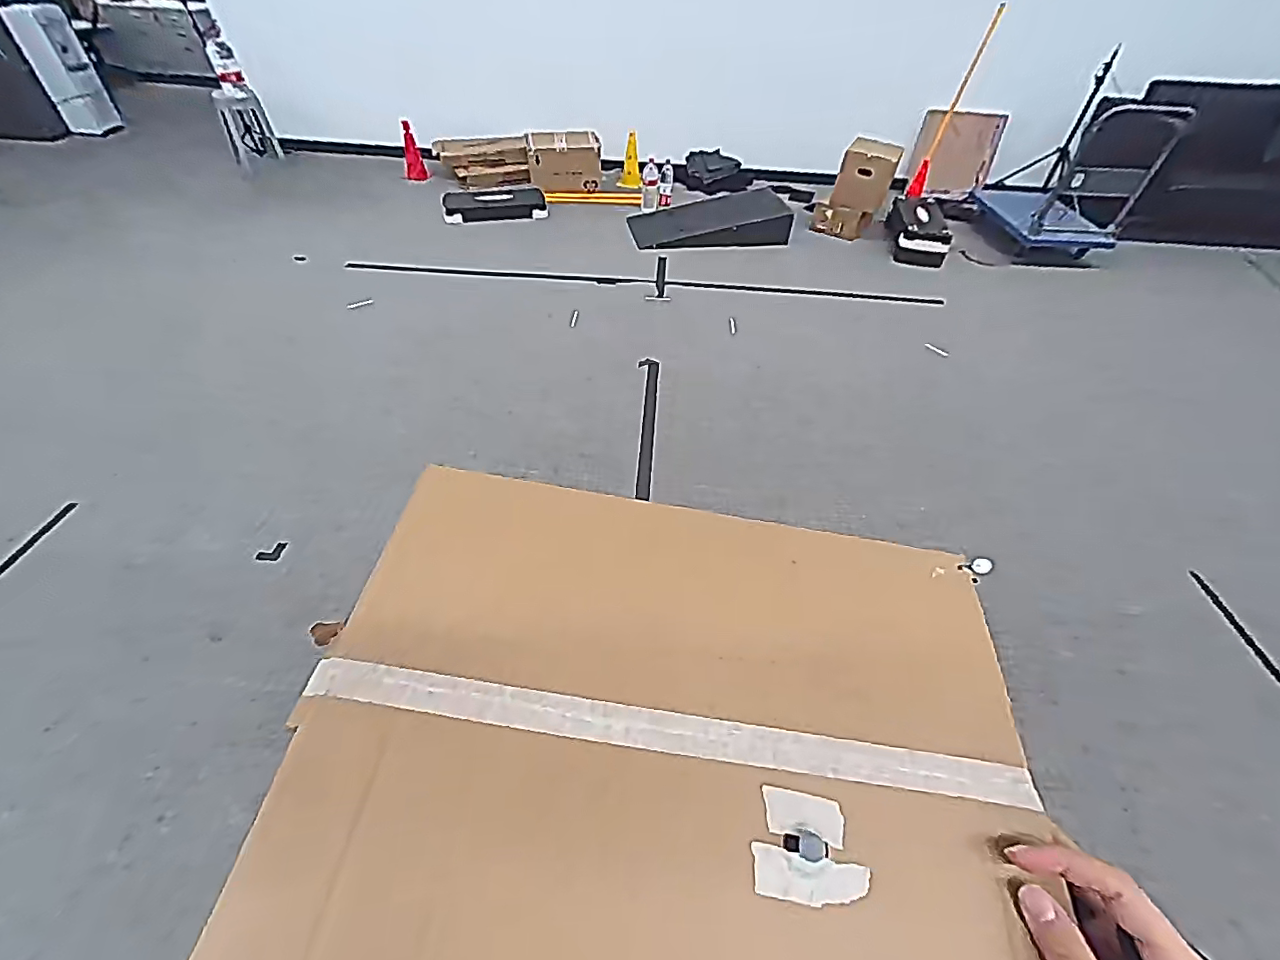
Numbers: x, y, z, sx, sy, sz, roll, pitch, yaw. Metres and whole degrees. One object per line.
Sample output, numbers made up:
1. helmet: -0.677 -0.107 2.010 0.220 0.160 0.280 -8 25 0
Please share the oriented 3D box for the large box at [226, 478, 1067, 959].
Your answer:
1. large box: 0.008 0.238 0.431 0.408 0.320 0.320 11 52 -1
